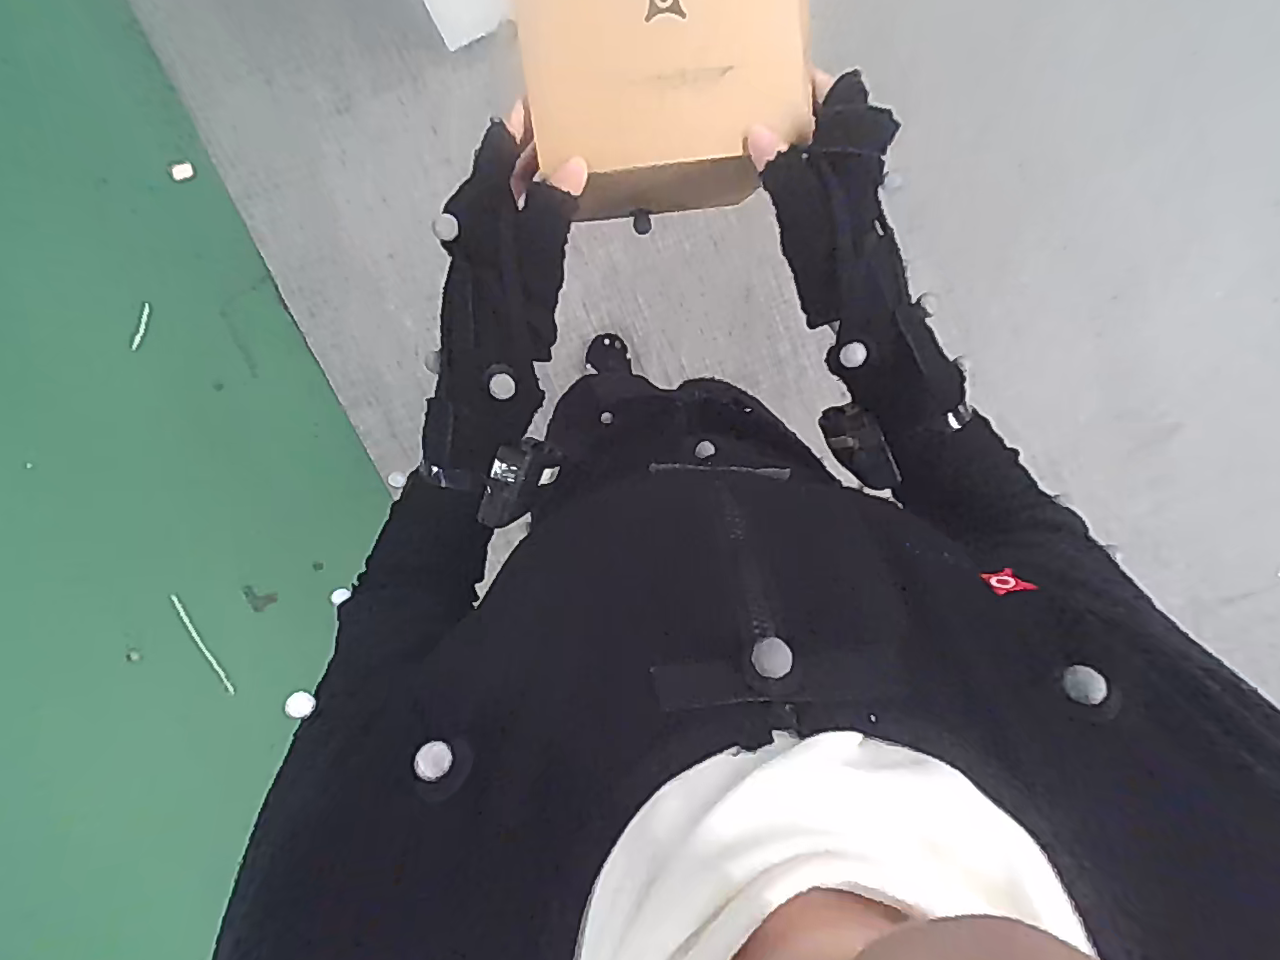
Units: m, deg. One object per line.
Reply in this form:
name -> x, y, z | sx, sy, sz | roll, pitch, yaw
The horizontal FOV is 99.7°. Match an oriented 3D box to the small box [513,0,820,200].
small box -> 0.004, -0.303, 0.354 | 0.168, 0.176, 0.179 | -9, 108, -2
